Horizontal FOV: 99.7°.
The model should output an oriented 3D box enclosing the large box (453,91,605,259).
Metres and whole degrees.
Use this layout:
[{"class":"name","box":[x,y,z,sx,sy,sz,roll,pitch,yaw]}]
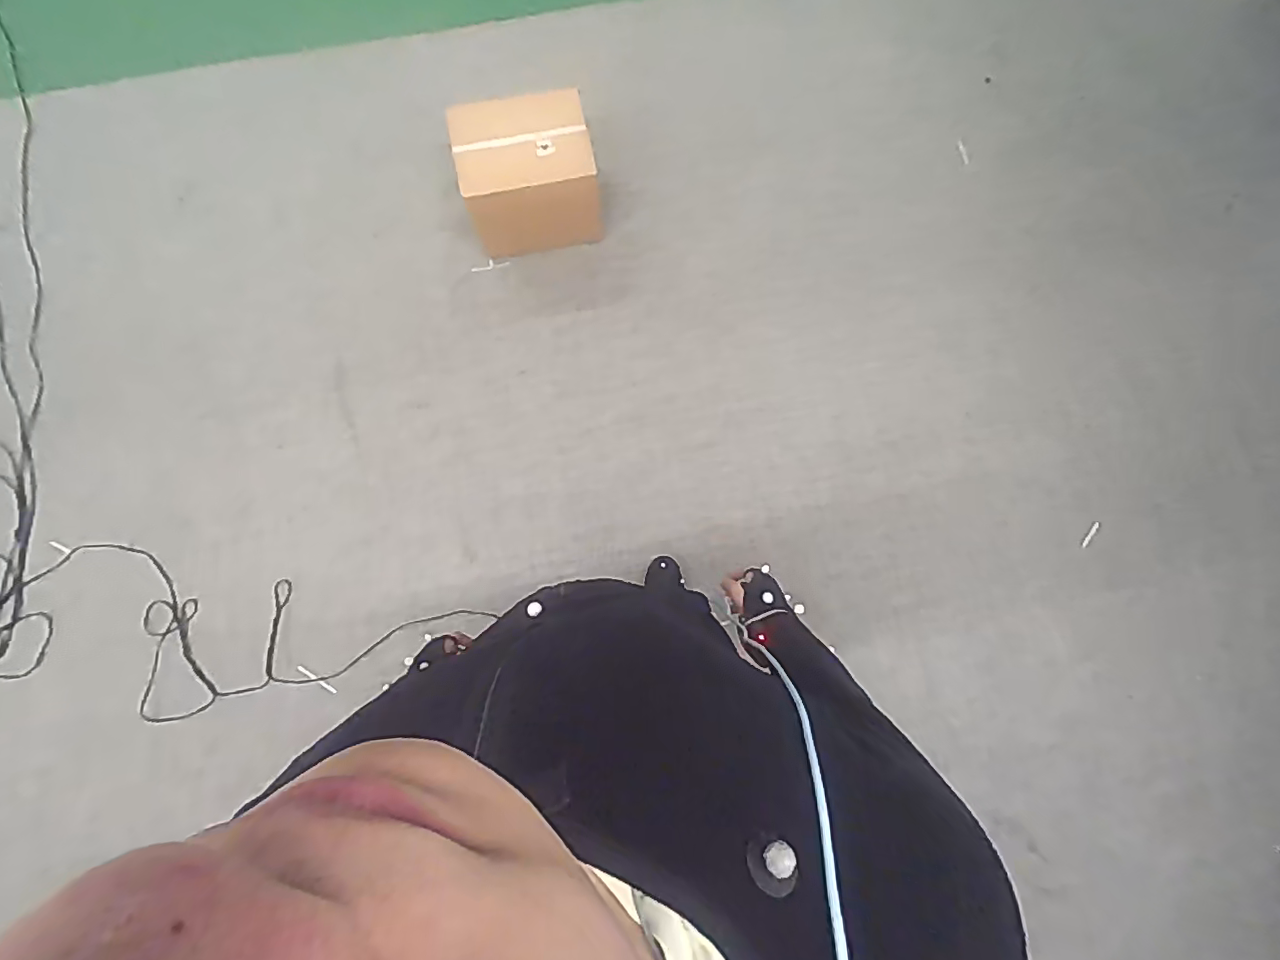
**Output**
[{"class":"large box","box":[-0.340,-0.965,1.745,0.408,0.320,0.320,-11,80,-4]}]
